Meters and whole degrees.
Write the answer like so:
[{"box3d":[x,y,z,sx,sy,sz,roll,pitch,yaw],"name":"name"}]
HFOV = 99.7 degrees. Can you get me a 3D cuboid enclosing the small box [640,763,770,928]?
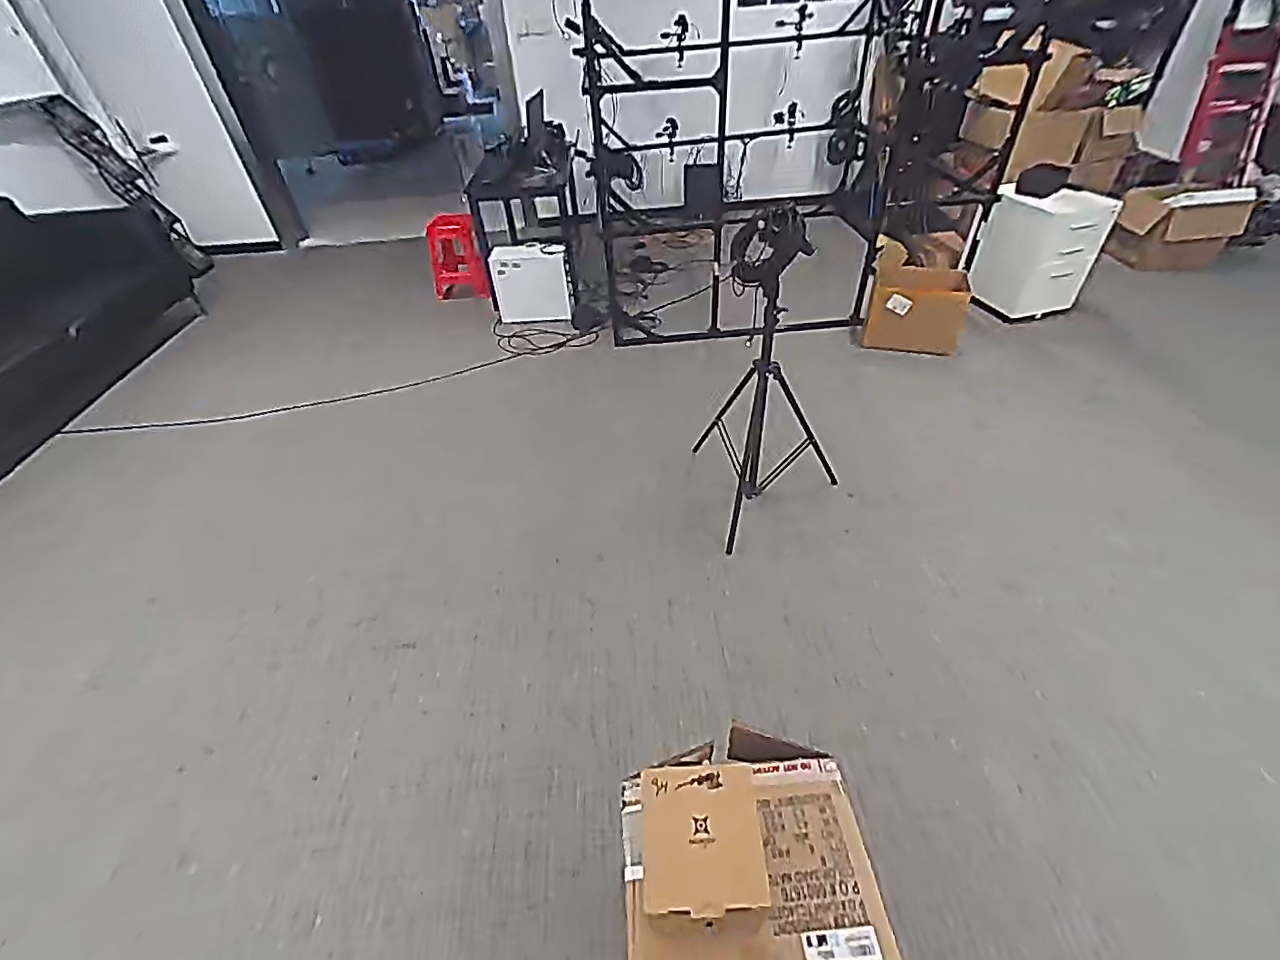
[{"box3d":[0.091,0.541,0.796,0.168,0.176,0.179,-5,44,2],"name":"small box"}]
